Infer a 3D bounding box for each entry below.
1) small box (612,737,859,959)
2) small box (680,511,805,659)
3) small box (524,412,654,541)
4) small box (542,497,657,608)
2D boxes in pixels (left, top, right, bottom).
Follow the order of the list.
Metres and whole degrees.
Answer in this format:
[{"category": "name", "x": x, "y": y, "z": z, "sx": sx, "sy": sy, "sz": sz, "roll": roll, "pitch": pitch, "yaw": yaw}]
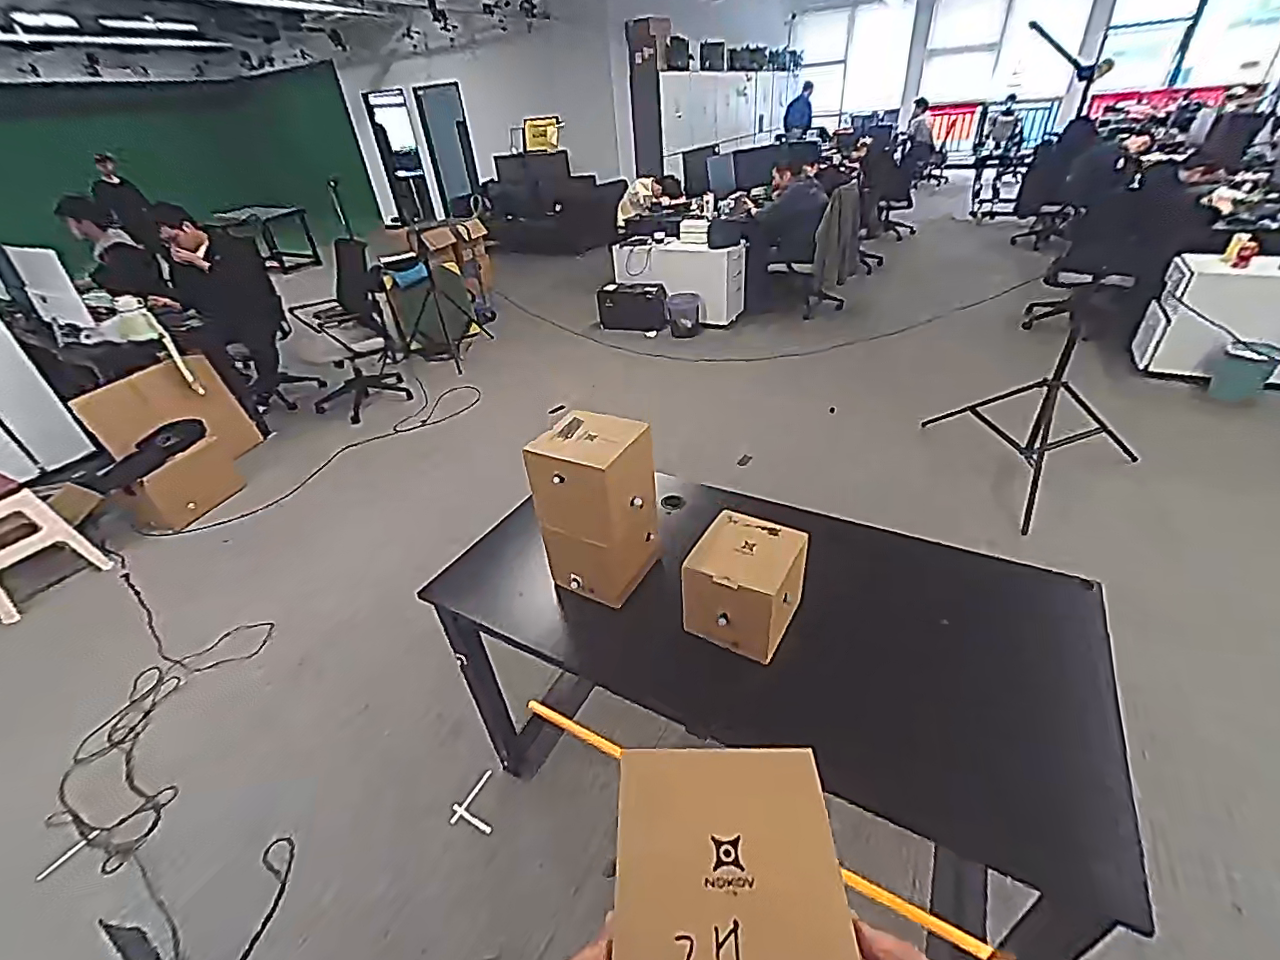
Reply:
[{"category": "small box", "x": 0.067, "y": 0.343, "z": 0.453, "sx": 0.168, "sy": 0.176, "sz": 0.179, "roll": -1, "pitch": 37, "yaw": 3}, {"category": "small box", "x": 0.188, "y": 0.189, "z": 0.980, "sx": 0.168, "sy": 0.176, "sz": 0.179, "roll": 16, "pitch": 40, "yaw": 28}, {"category": "small box", "x": -0.088, "y": -0.008, "z": 1.015, "sx": 0.179, "sy": 0.176, "sz": 0.168, "roll": 14, "pitch": 39, "yaw": 26}, {"category": "small box", "x": -0.074, "y": 0.126, "z": 1.108, "sx": 0.168, "sy": 0.176, "sz": 0.179, "roll": 14, "pitch": 39, "yaw": 27}]
